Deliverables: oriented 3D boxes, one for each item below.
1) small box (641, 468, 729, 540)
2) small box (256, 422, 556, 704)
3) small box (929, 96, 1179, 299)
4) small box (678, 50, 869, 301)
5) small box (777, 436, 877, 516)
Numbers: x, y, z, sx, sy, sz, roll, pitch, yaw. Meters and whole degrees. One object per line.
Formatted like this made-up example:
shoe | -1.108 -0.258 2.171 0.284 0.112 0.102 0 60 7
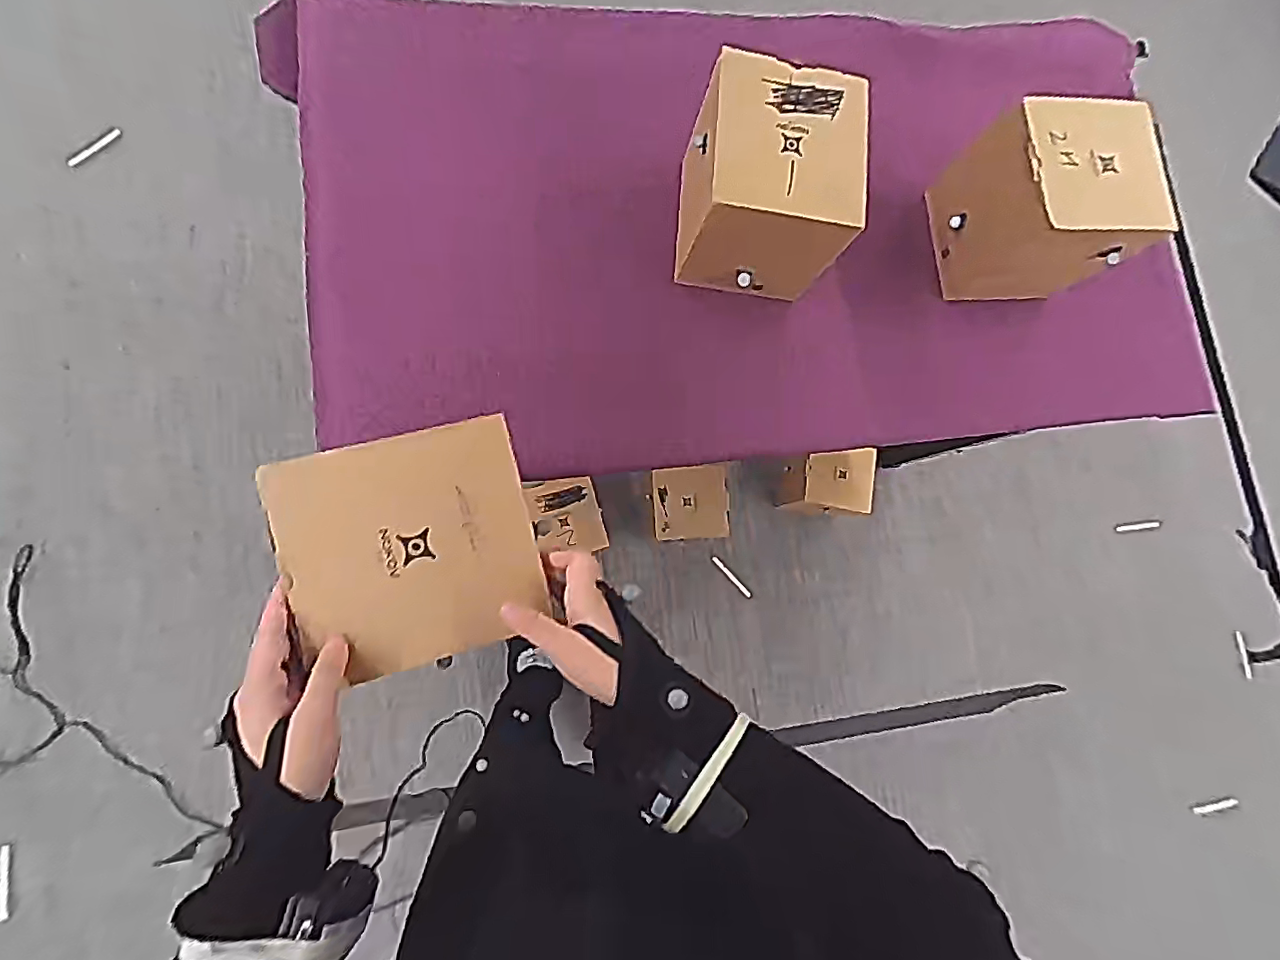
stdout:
small box | 0.104 0.061 1.315 0.179 0.176 0.168 -2 83 -9
small box | -0.181 0.062 0.469 0.179 0.176 0.168 -16 90 -14
small box | 0.509 -0.344 0.689 0.179 0.176 0.168 -4 82 -9
small box | 0.144 -0.337 0.631 0.168 0.176 0.179 6 82 -8
small box | 0.473 -0.004 1.383 0.179 0.176 0.168 11 81 -6
